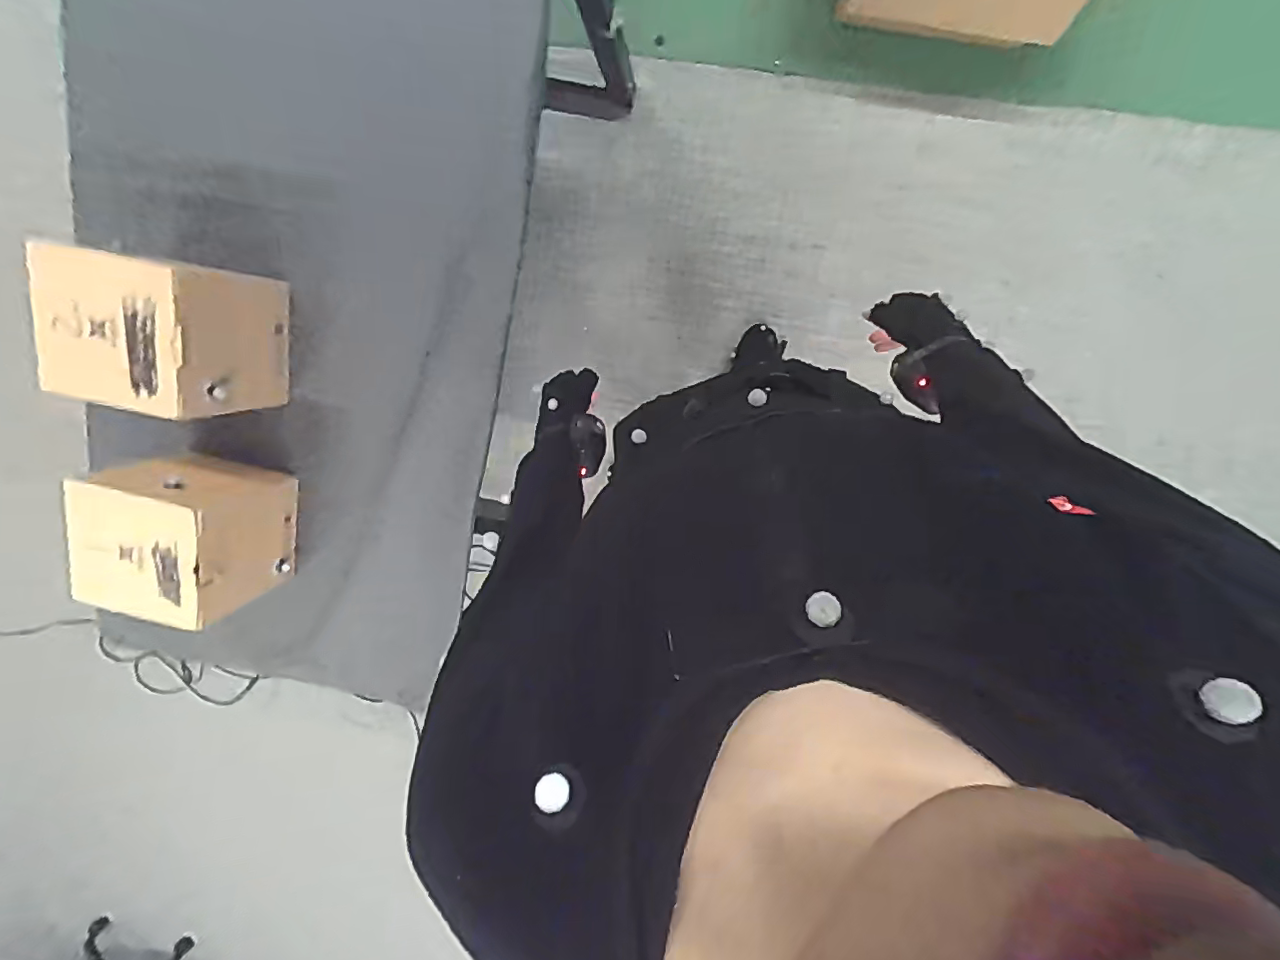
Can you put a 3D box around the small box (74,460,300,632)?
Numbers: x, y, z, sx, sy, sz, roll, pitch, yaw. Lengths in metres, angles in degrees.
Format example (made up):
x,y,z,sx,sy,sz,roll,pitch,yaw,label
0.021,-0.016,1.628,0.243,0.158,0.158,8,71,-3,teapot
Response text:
x,y,z,sx,sy,sz,roll,pitch,yaw,label
-0.603,0.078,0.741,0.179,0.176,0.168,13,104,4,small box
